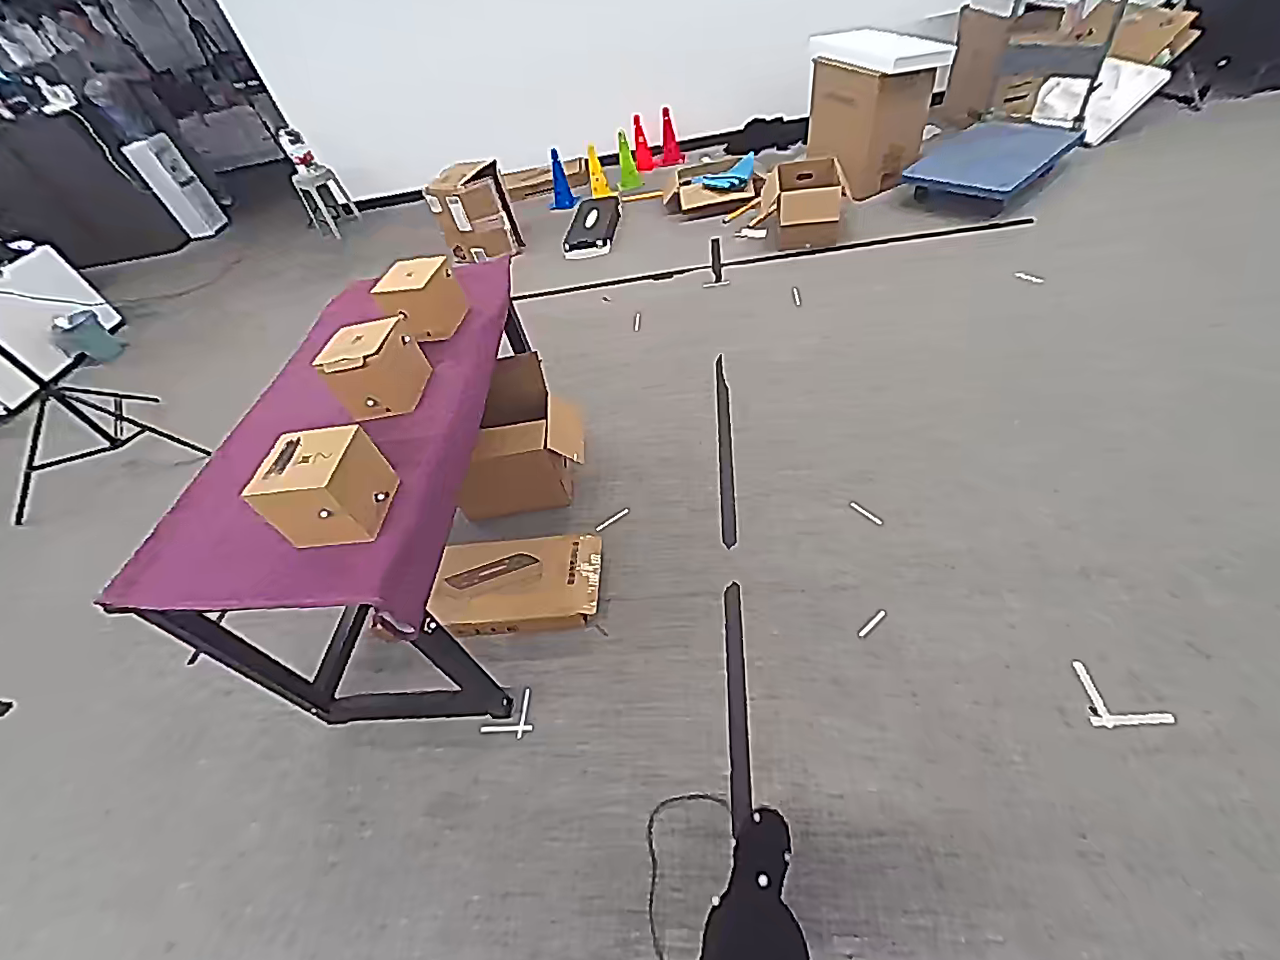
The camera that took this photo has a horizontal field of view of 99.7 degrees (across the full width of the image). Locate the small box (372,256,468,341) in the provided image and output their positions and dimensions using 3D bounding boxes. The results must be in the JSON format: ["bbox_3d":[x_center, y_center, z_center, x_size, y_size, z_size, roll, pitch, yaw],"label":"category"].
[{"bbox_3d":[-0.619,-0.515,1.553,0.168,0.176,0.179,-1,48,13],"label":"small box"}]

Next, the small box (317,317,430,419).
[{"bbox_3d":[-0.649,-0.276,1.344,0.168,0.176,0.179,-8,47,10],"label":"small box"}]
